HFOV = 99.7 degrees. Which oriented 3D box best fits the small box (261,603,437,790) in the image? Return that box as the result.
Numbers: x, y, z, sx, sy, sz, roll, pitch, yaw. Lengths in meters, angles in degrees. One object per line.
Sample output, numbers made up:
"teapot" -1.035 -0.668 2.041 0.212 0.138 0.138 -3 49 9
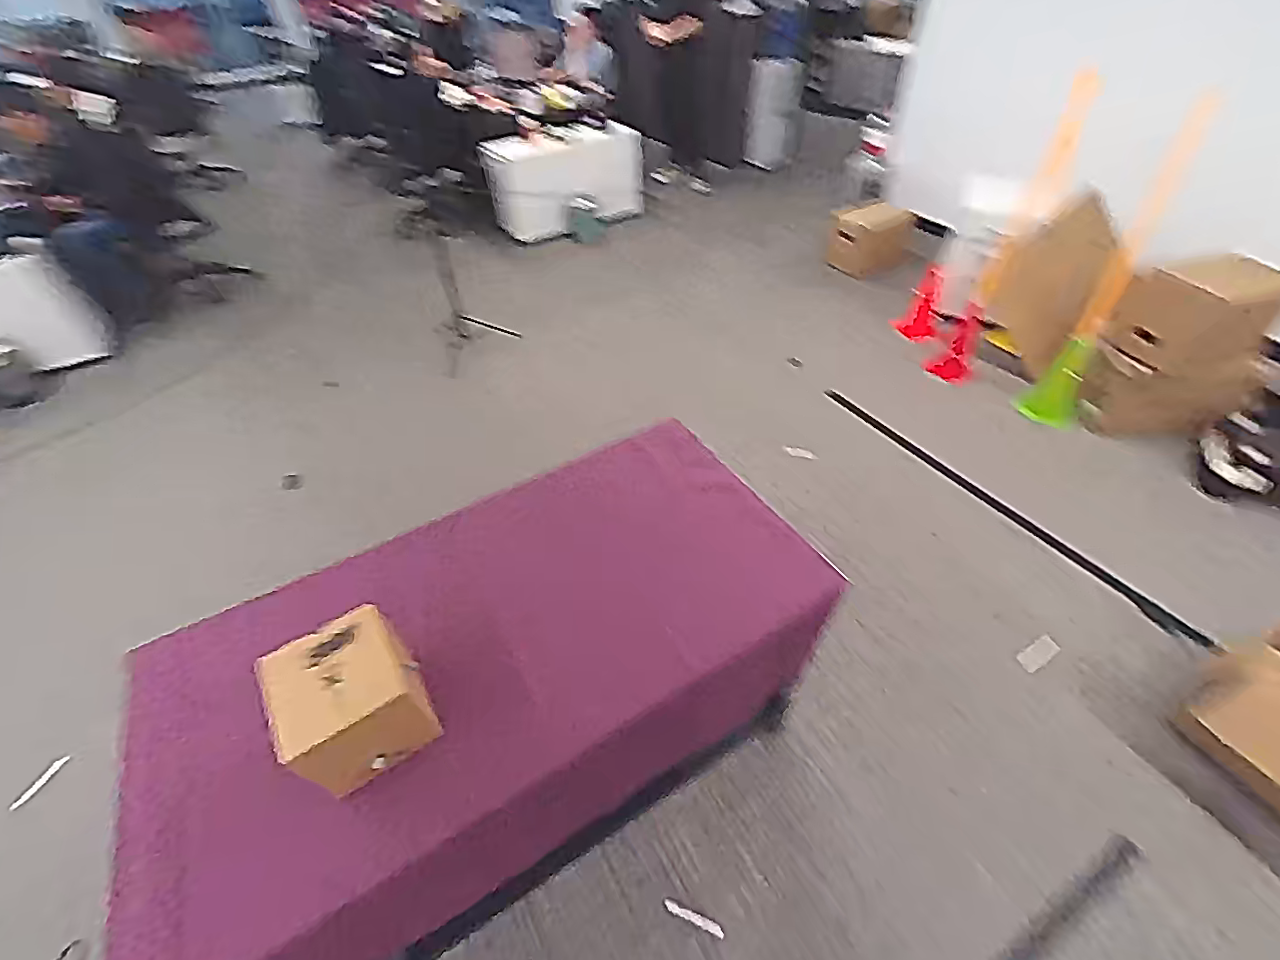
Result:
"small box" -0.440 0.332 0.830 0.168 0.176 0.179 -29 51 -22
